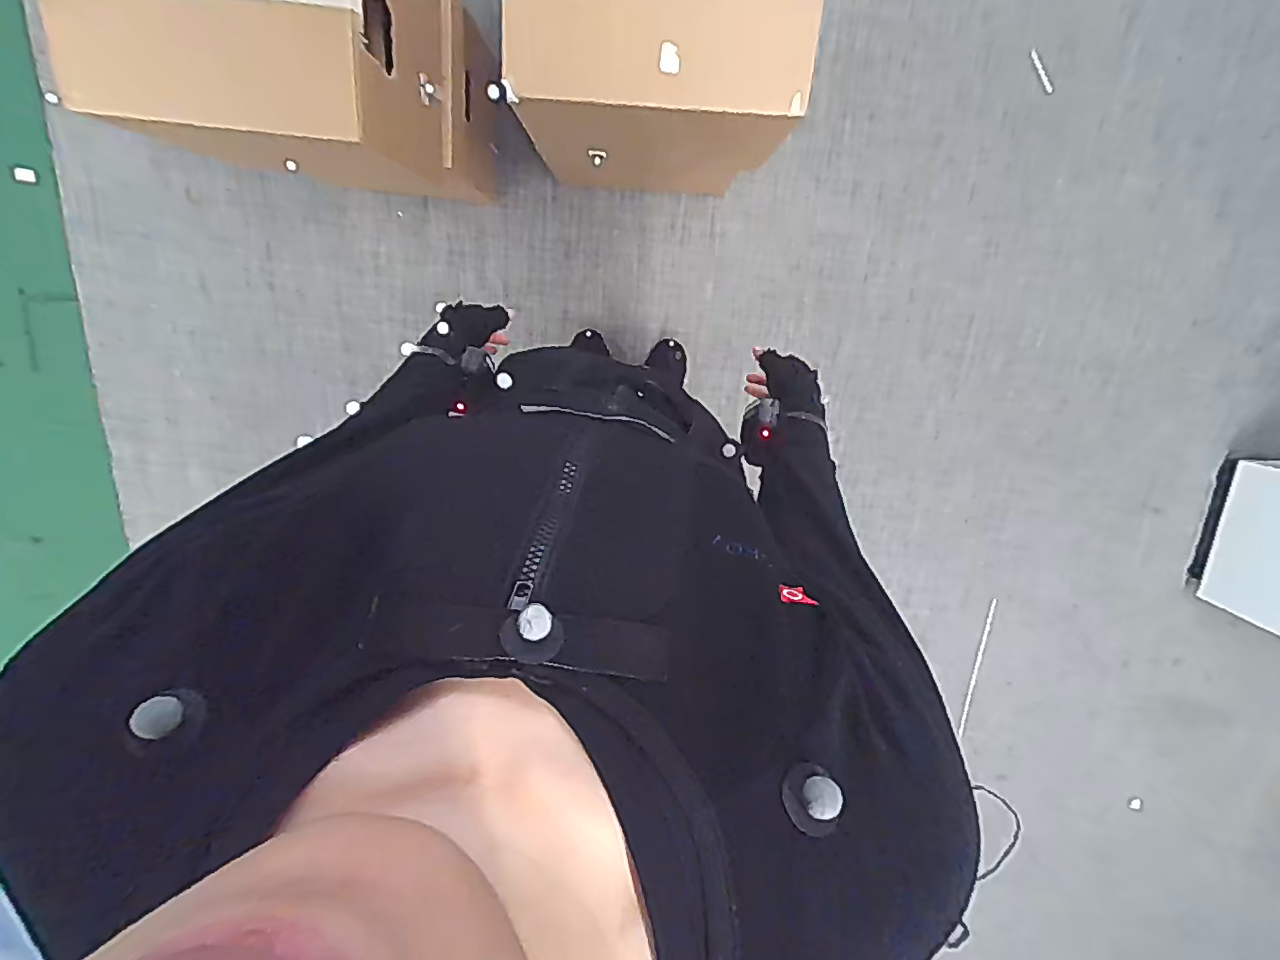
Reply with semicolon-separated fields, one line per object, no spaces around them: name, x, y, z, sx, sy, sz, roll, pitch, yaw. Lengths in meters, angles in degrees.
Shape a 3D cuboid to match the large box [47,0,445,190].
large box;-0.553;-0.658;0.829;0.408;0.320;0.320;7;107;0
